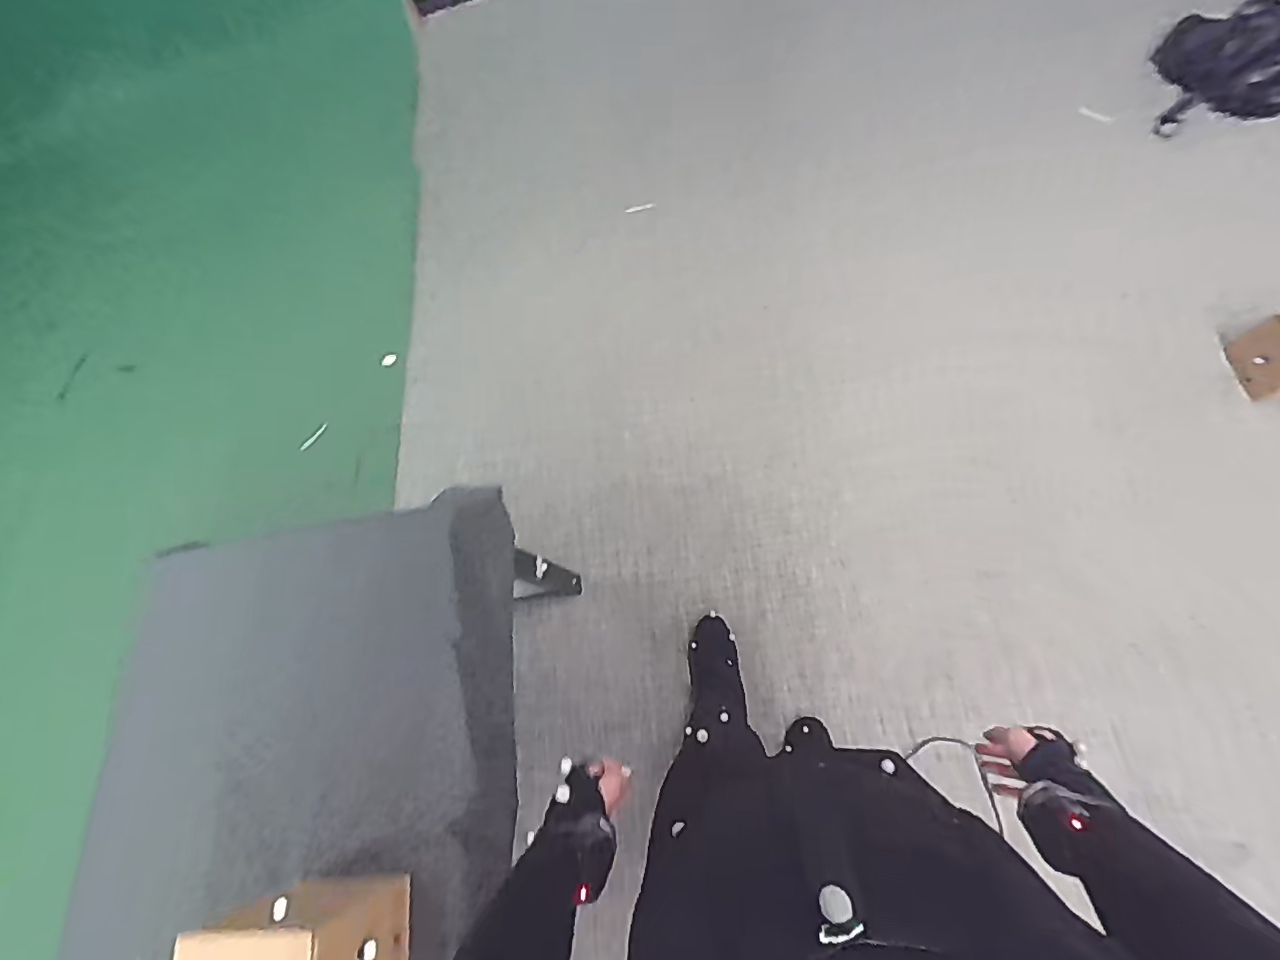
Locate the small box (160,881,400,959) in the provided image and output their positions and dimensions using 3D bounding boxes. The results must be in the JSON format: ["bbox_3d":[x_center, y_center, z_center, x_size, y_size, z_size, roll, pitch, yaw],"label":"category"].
[{"bbox_3d":[-0.395,0.574,0.604,0.179,0.176,0.168,-10,68,10],"label":"small box"}]

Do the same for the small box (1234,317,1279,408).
[{"bbox_3d":[1.552,-0.284,1.249,0.179,0.176,0.168,-11,69,10],"label":"small box"}]
